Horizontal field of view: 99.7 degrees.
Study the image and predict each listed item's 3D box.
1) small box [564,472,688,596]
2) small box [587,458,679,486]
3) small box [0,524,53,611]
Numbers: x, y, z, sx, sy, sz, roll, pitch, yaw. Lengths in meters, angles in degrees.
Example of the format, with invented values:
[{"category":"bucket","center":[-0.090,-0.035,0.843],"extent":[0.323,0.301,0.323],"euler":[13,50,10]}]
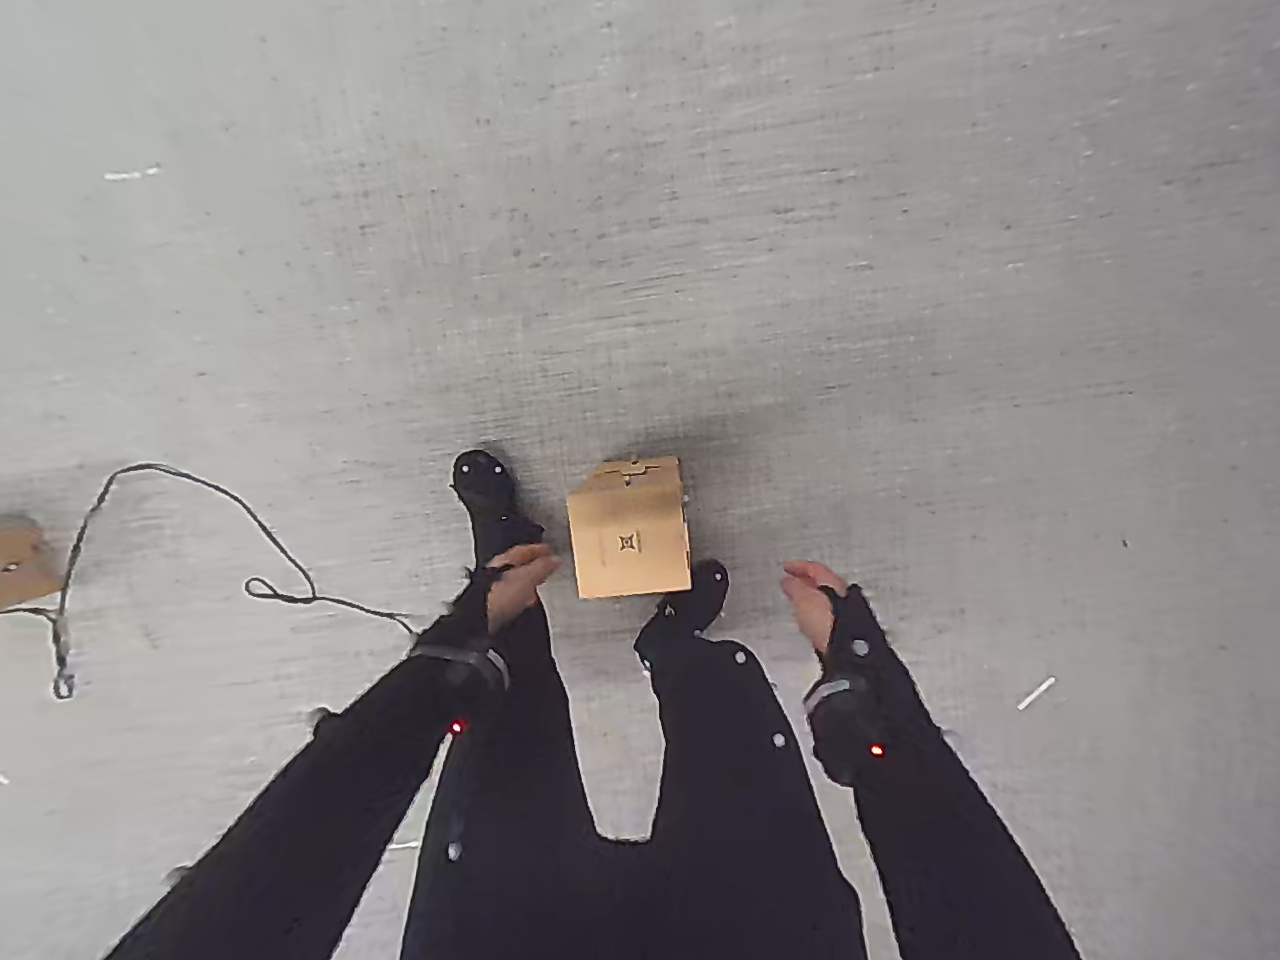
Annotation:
[{"category":"small box","center":[-0.018,0.081,0.899],"extent":[0.179,0.176,0.168],"euler":[-6,96,3]},{"category":"small box","center":[-0.006,0.051,1.060],"extent":[0.168,0.176,0.179],"euler":[-6,97,2]},{"category":"small box","center":[-1.380,0.199,1.110],"extent":[0.179,0.176,0.168],"euler":[-15,97,4]}]
